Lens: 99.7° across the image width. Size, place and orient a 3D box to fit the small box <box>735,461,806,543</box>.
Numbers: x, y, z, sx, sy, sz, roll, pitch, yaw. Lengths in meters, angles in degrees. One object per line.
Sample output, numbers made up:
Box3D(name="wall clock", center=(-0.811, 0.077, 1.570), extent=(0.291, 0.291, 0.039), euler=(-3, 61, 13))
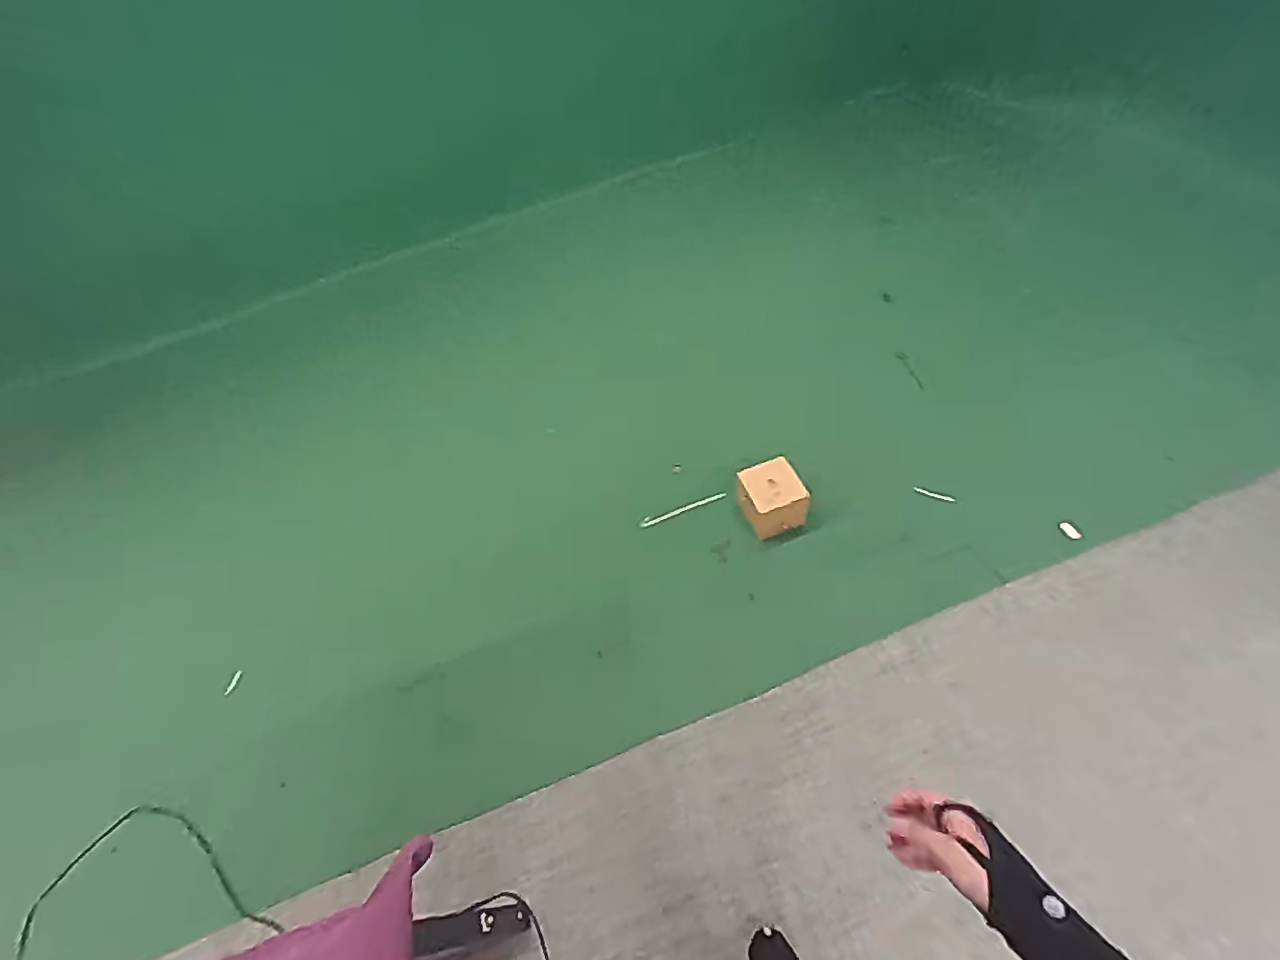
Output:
Box3D(name="small box", center=(0.420, 0.074, 1.770), extent=(0.168, 0.176, 0.179), euler=(-20, 53, -4))
